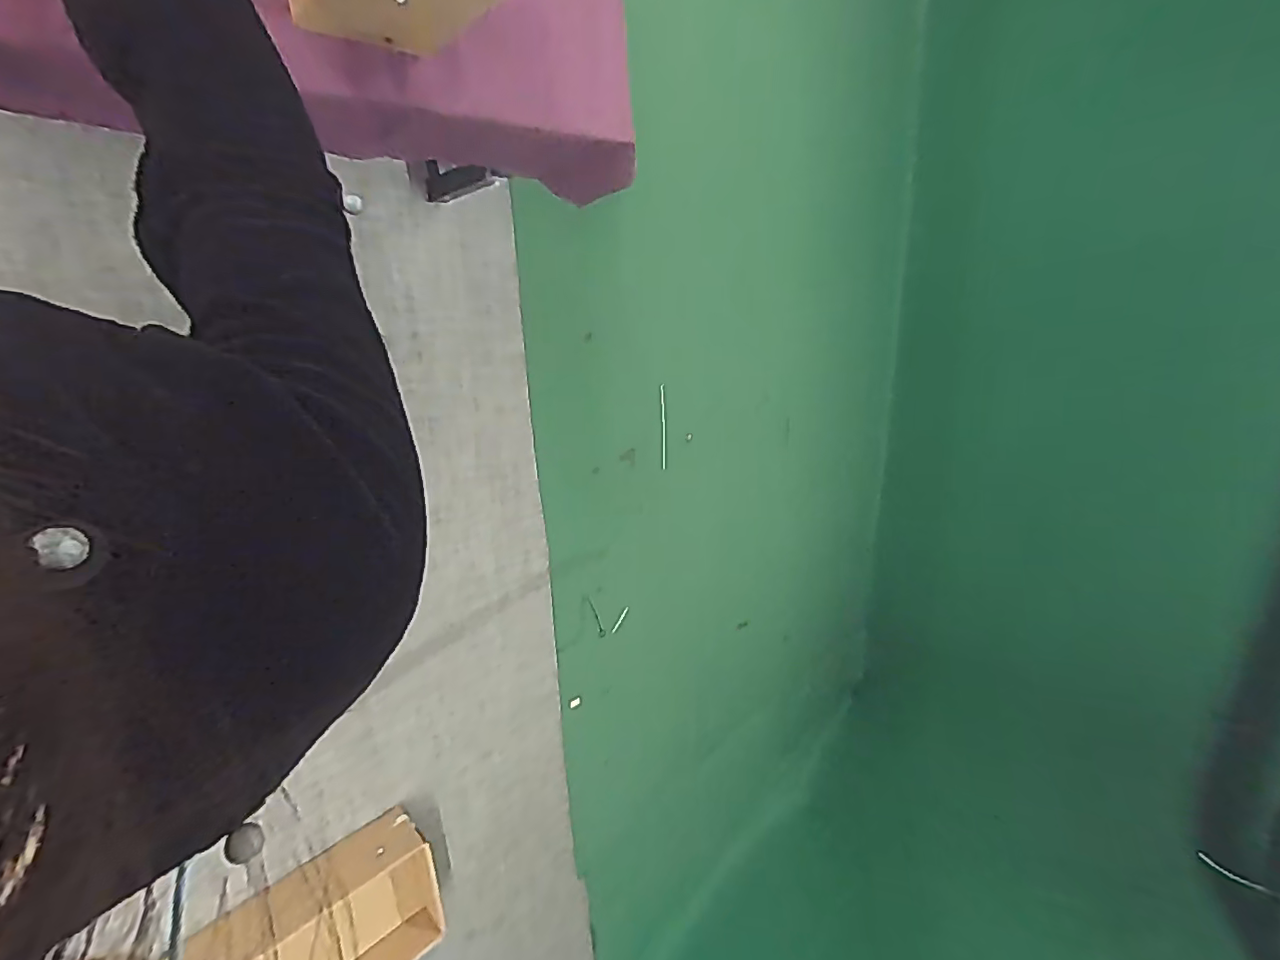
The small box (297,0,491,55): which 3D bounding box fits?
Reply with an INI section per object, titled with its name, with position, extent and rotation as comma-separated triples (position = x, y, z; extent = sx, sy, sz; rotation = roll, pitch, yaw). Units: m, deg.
[small box]
position = -0.292, -0.623, 0.602
extent = 0.168, 0.176, 0.179
rotation = -21, 114, -39
